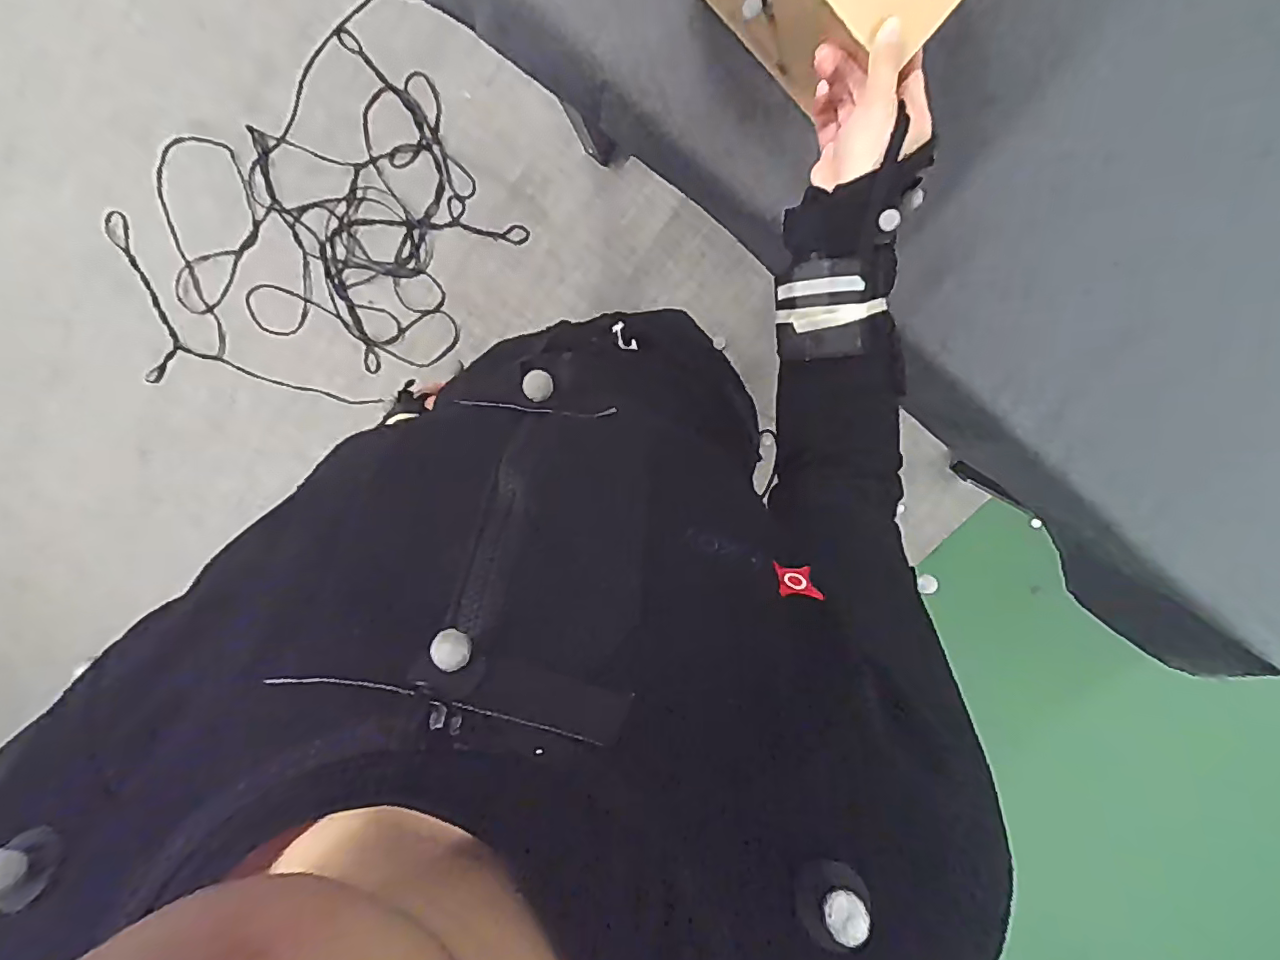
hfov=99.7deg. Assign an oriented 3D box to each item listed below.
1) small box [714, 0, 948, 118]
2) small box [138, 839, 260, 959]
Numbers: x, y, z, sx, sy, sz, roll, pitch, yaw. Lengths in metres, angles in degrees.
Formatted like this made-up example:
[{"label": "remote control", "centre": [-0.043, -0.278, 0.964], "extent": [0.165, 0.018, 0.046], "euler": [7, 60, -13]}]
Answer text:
[{"label": "small box", "centre": [0.158, -0.404, 0.382], "extent": [0.168, 0.176, 0.179], "euler": [39, 106, -14]}, {"label": "small box", "centre": [-1.193, 1.140, 1.475], "extent": [0.168, 0.176, 0.179], "euler": [34, 103, -6]}]
